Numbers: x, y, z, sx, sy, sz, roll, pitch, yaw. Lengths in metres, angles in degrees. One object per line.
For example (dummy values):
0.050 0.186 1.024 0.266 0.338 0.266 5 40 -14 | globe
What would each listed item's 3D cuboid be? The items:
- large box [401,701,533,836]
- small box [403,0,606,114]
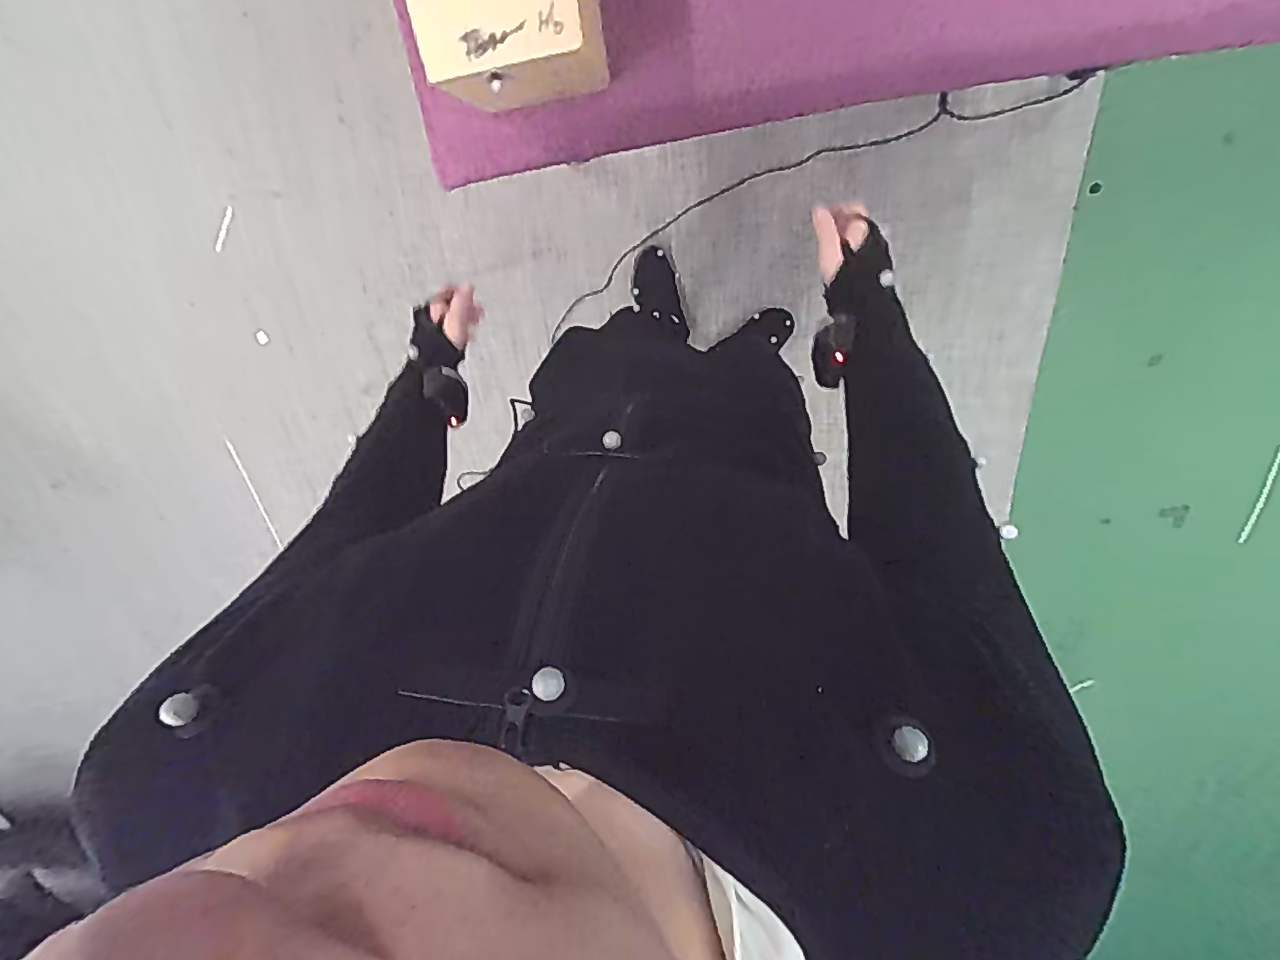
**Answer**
-0.716 1.199 2.266 0.408 0.320 0.320 24 118 -7 | large box
-0.139 -0.514 0.566 0.168 0.176 0.179 -5 115 10 | small box
